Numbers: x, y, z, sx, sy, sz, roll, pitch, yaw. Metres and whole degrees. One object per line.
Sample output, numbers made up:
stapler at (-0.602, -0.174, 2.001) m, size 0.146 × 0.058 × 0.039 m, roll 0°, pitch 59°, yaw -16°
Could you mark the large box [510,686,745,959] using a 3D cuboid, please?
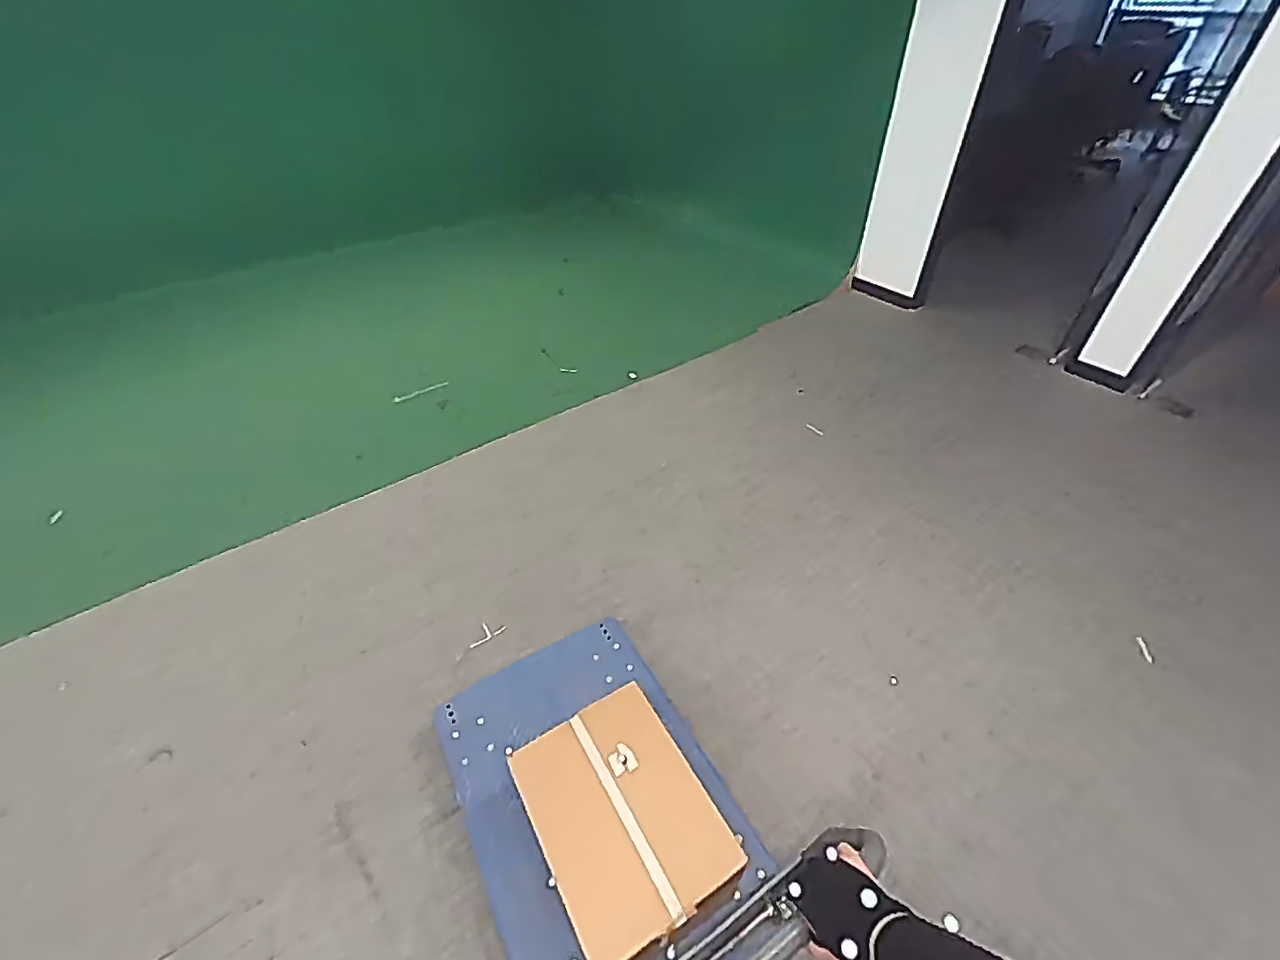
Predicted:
large box at (-0.030, 0.743, 1.147) m, size 0.320 × 0.320 × 0.408 m, roll -23°, pitch 45°, yaw -21°
